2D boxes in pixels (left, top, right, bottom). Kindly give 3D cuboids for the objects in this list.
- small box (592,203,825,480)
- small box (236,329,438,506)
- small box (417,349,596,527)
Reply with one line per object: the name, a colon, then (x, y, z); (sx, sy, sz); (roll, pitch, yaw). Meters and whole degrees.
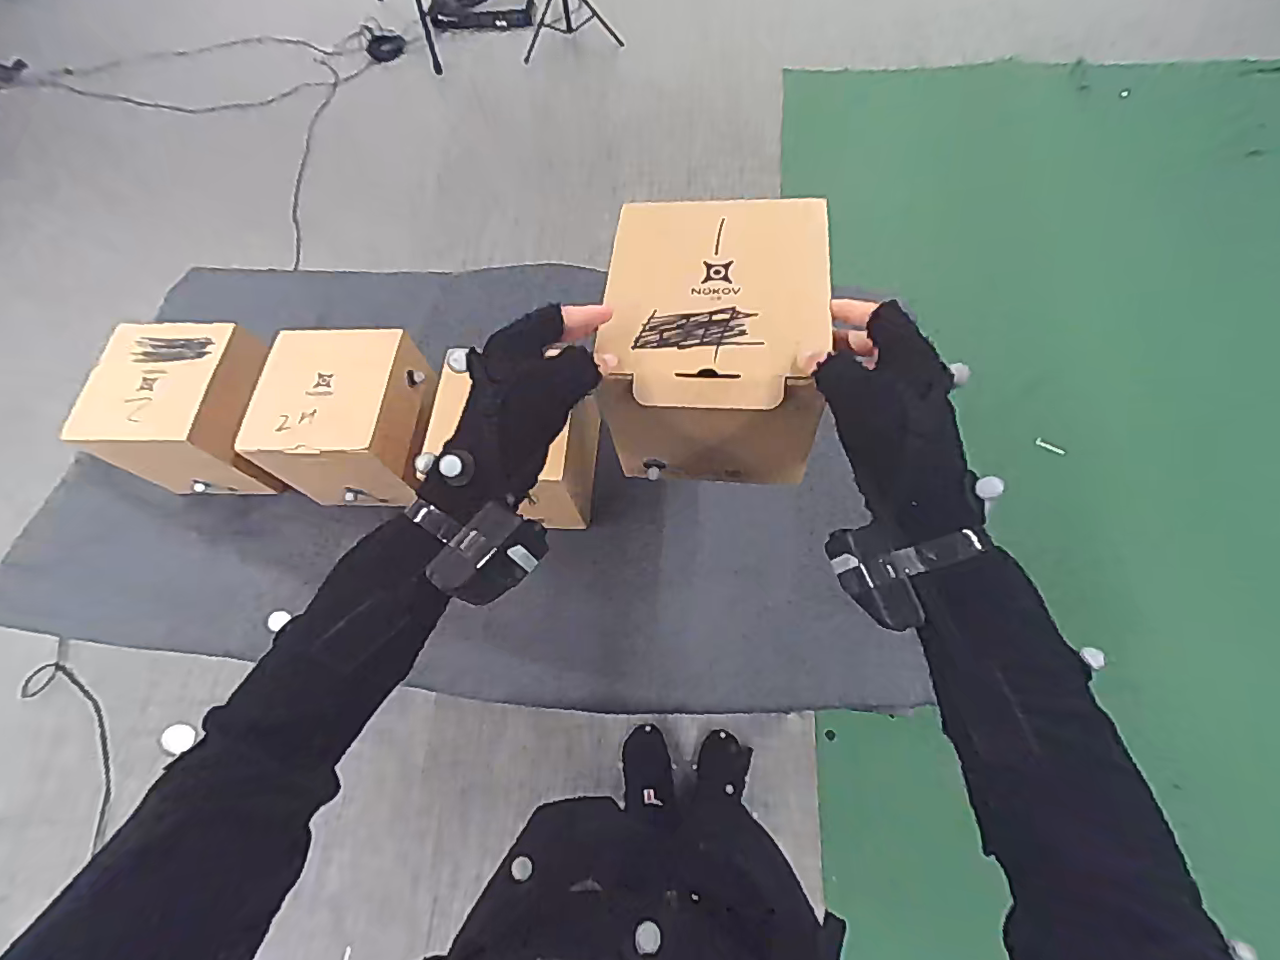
small box: (0.065, -0.111, 0.479); (0.168, 0.176, 0.179); (3, 65, 9)
small box: (-0.374, -0.079, 0.719); (0.168, 0.176, 0.179); (1, 66, 5)
small box: (-0.153, -0.046, 0.691); (0.168, 0.176, 0.179); (1, 65, 5)
